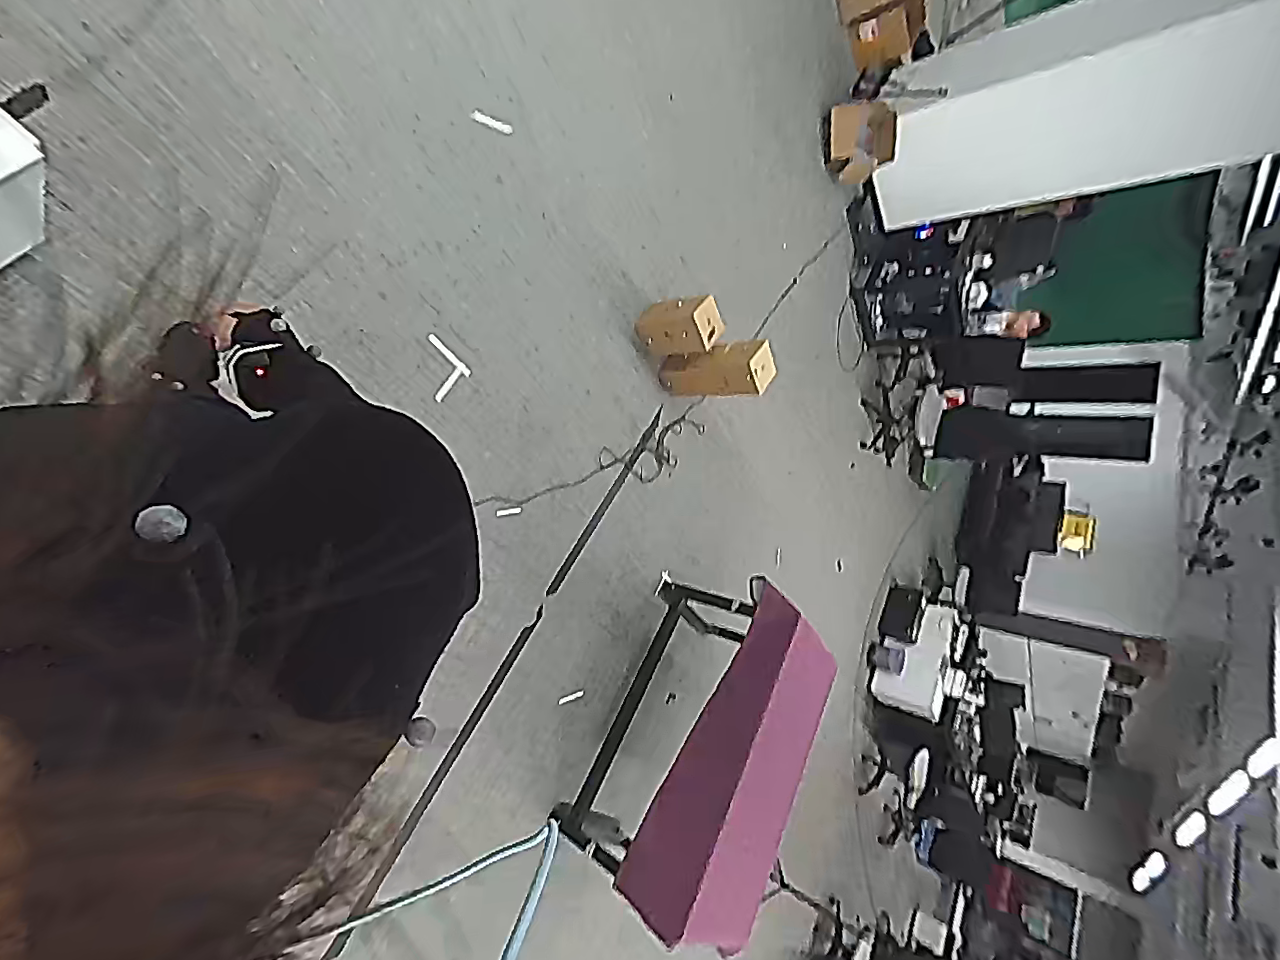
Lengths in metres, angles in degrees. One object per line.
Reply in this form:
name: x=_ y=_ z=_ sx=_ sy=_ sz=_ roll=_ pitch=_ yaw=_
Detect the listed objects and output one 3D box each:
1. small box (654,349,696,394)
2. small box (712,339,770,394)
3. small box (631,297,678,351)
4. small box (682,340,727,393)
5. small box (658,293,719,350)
small box: x=0.196 y=-0.525 z=2.558 sx=0.168 sy=0.176 sz=0.179 roll=52 pitch=59 yaw=-39
small box: x=0.438 y=-0.491 z=2.342 sx=0.179 sy=0.176 sz=0.168 roll=-53 pitch=131 yaw=-31
small box: x=0.092 y=-0.692 z=2.408 sx=0.179 sy=0.176 sz=0.168 roll=-55 pitch=132 yaw=-27
small box: x=0.317 y=-0.507 z=2.452 sx=0.168 sy=0.176 sz=0.179 roll=-58 pitch=134 yaw=-25
small box: x=0.205 y=-0.667 z=2.291 sx=0.168 sy=0.176 sz=0.179 roll=-53 pitch=131 yaw=-30
